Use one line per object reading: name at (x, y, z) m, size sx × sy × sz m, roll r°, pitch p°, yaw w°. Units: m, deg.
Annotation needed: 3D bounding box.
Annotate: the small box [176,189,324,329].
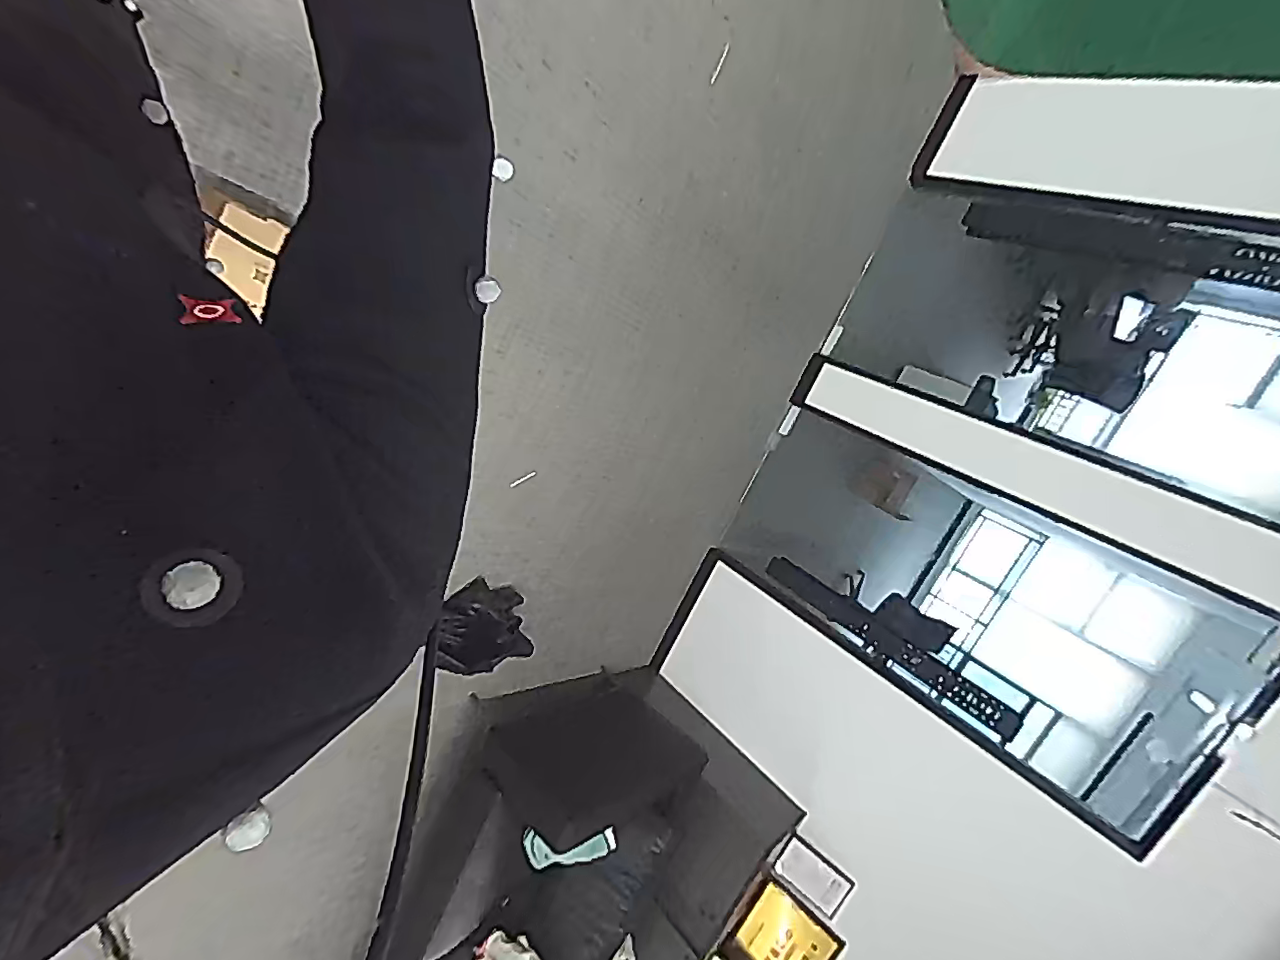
small box at (-0.737, -0.417, 1.018) m, size 0.168 × 0.176 × 0.179 m, roll 17°, pitch 104°, yaw -53°
